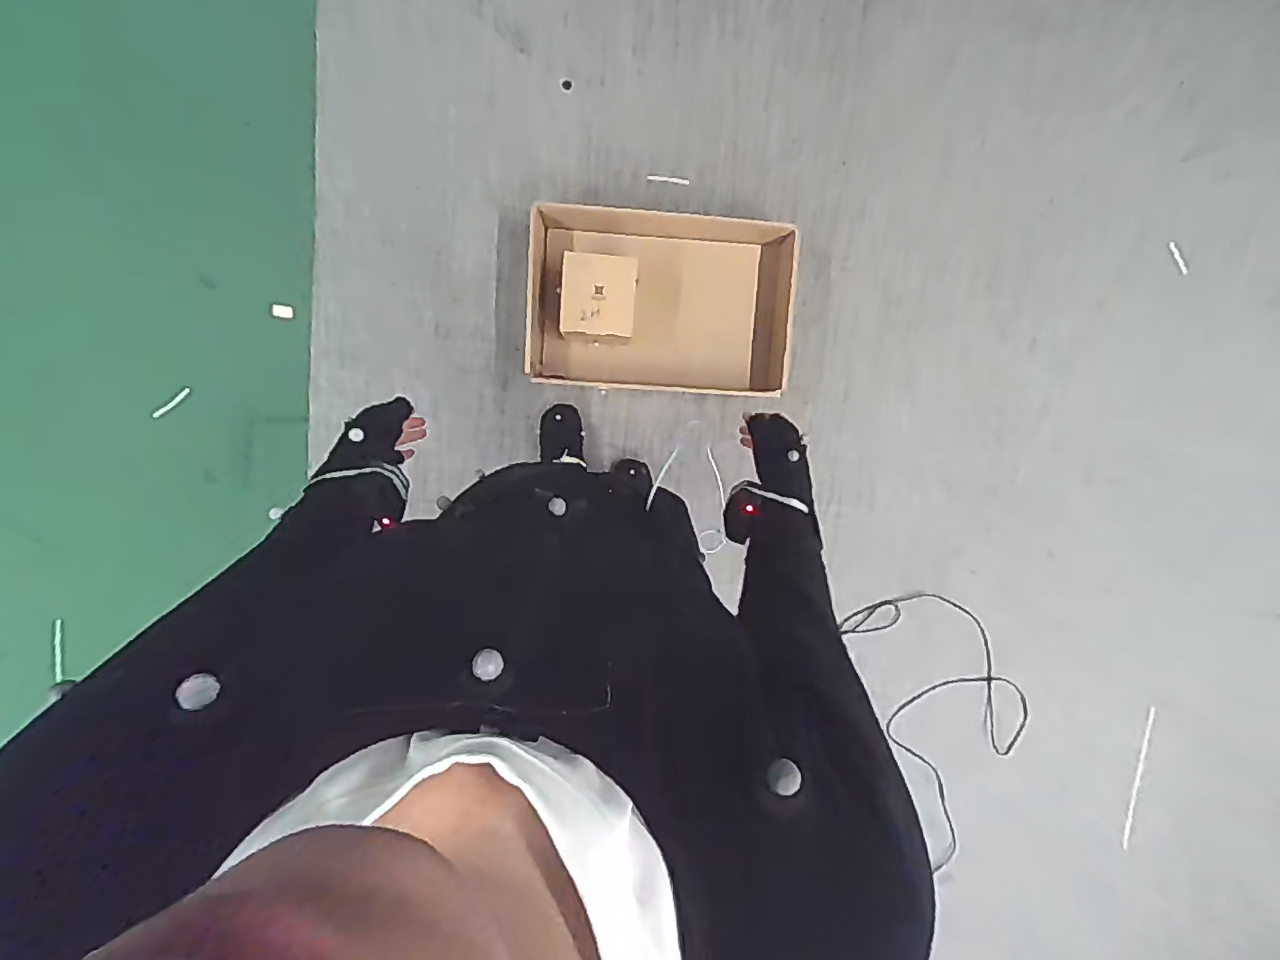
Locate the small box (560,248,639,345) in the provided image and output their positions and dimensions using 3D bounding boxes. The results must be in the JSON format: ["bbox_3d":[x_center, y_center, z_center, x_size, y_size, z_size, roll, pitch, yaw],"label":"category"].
[{"bbox_3d":[-0.095,-0.426,1.279,0.168,0.176,0.179,5,97,-4],"label":"small box"}]
